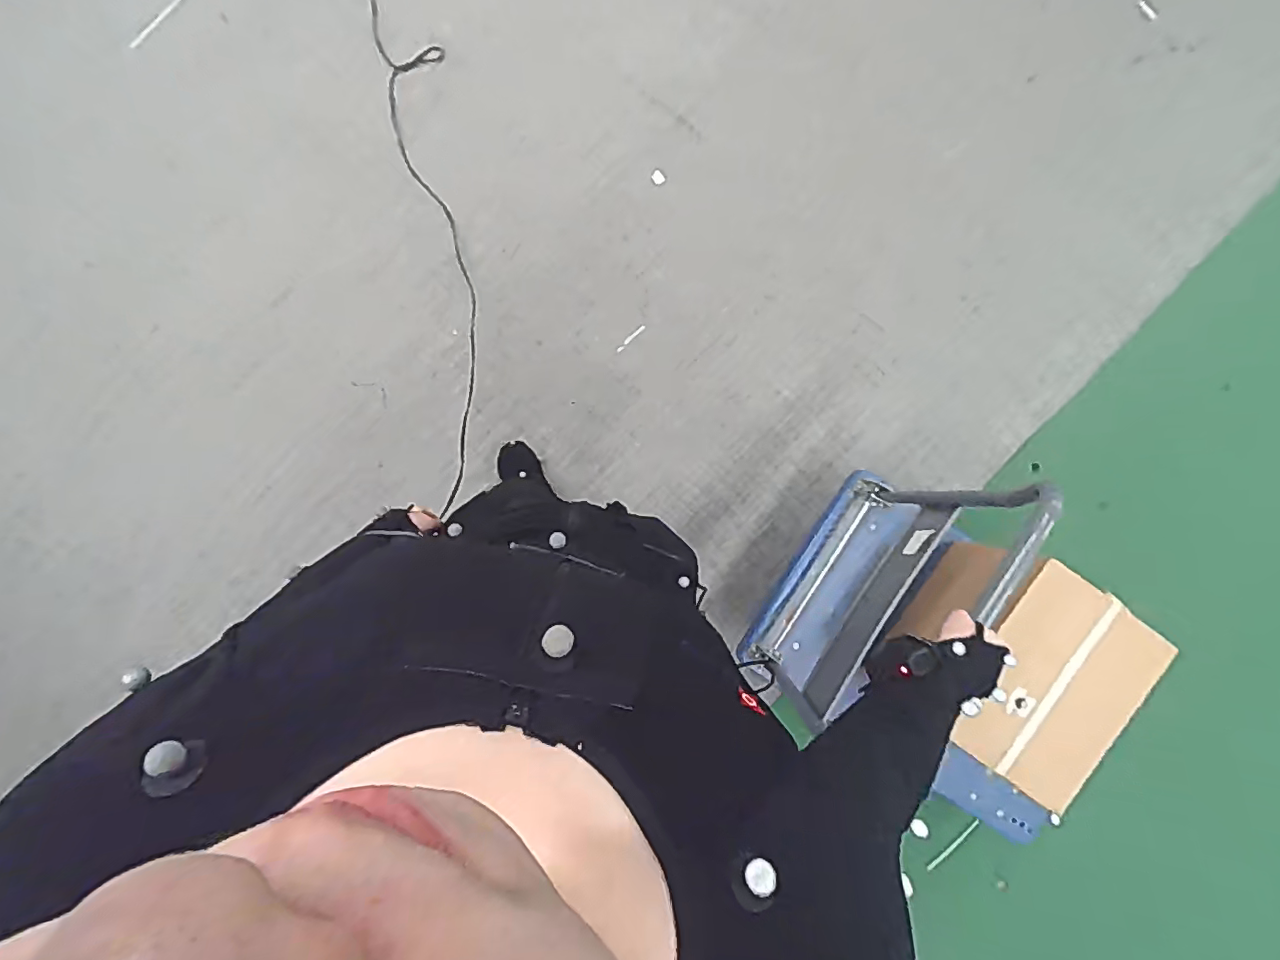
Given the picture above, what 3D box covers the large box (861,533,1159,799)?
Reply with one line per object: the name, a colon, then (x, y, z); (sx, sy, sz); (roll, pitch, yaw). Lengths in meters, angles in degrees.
large box: (0.787, 0.378, 1.208); (0.320, 0.320, 0.408); (36, 90, -1)
